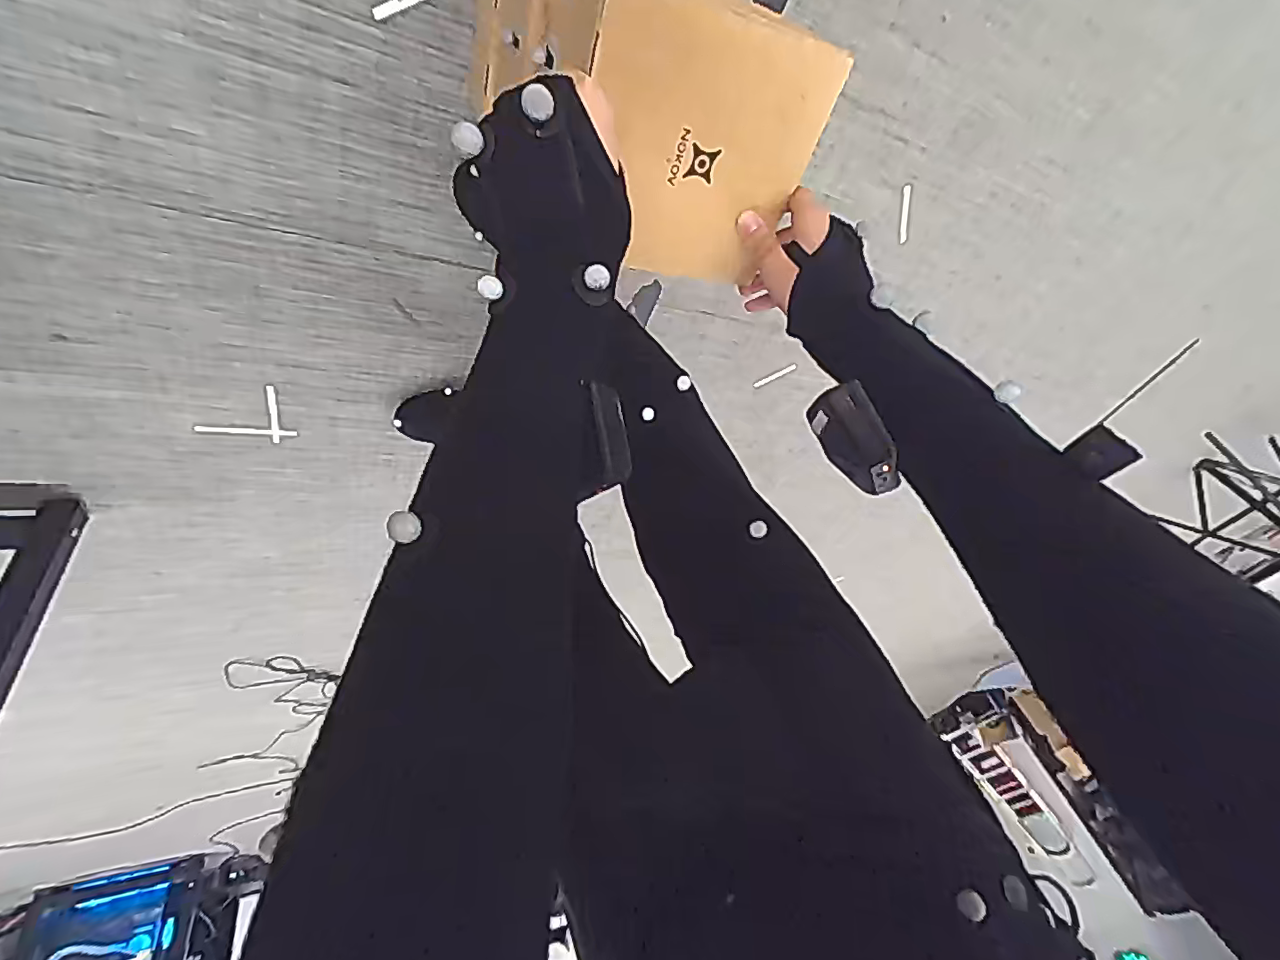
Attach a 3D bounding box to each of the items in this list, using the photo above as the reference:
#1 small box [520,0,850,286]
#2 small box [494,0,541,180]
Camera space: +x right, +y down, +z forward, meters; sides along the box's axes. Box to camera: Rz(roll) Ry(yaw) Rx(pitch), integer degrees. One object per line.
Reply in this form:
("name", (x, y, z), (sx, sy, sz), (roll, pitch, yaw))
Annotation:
("small box", (0.015, -0.278, 0.421), (0.179, 0.176, 0.168), (-1, 138, -24))
("small box", (-0.042, -0.396, 0.517), (0.168, 0.176, 0.179), (-2, 139, -23))
